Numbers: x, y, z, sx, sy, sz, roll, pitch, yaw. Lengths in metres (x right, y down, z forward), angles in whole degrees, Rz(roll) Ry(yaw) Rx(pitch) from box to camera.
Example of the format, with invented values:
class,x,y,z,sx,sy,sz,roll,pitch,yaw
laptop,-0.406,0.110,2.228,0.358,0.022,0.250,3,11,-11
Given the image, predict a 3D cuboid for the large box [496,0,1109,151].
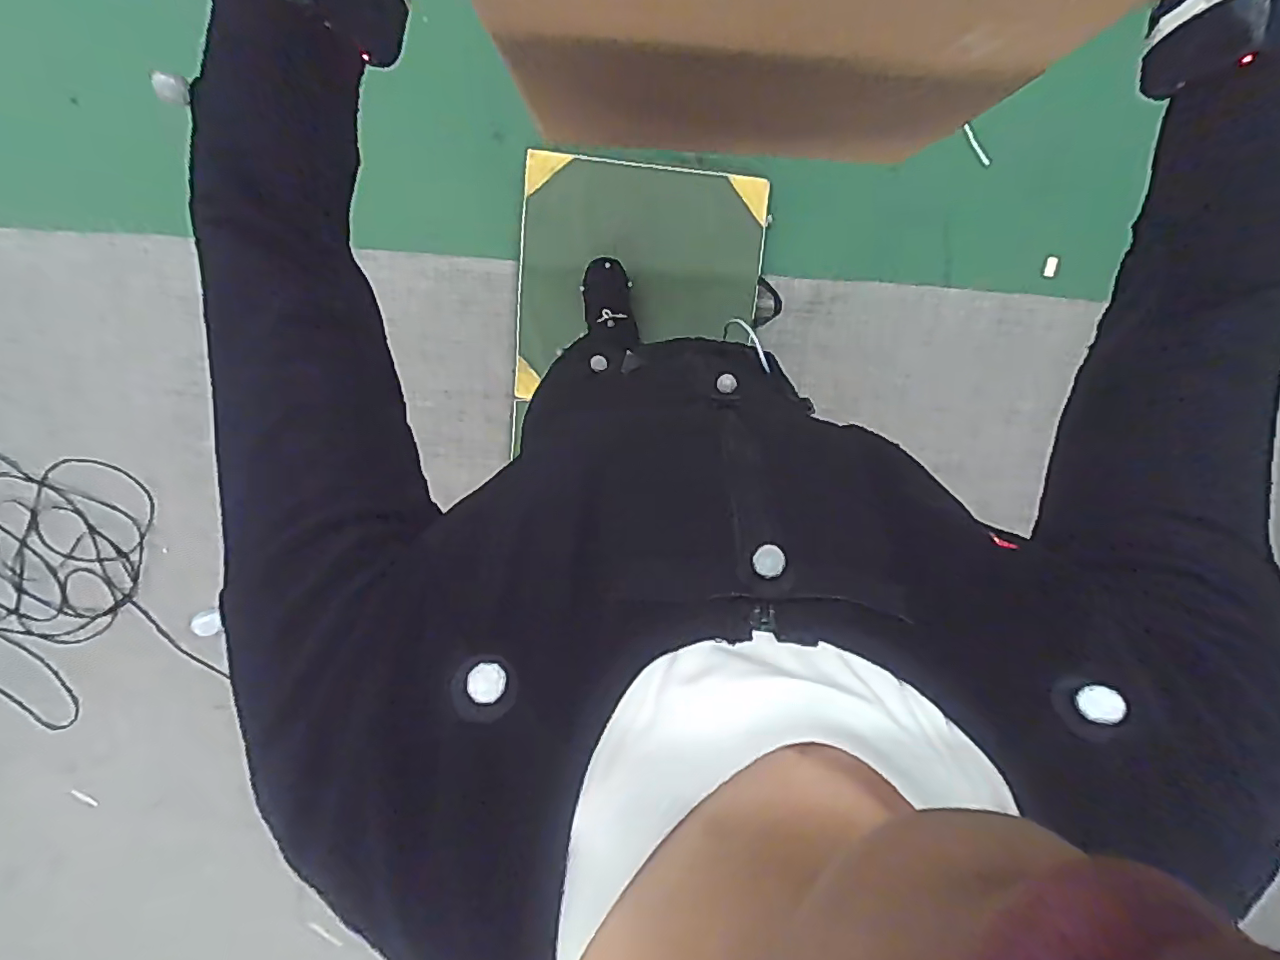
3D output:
class,x,y,z,sx,sy,sz,roll,pitch,yaw
large box,0.102,-0.478,0.417,0.408,0.320,0.320,2,105,-1
